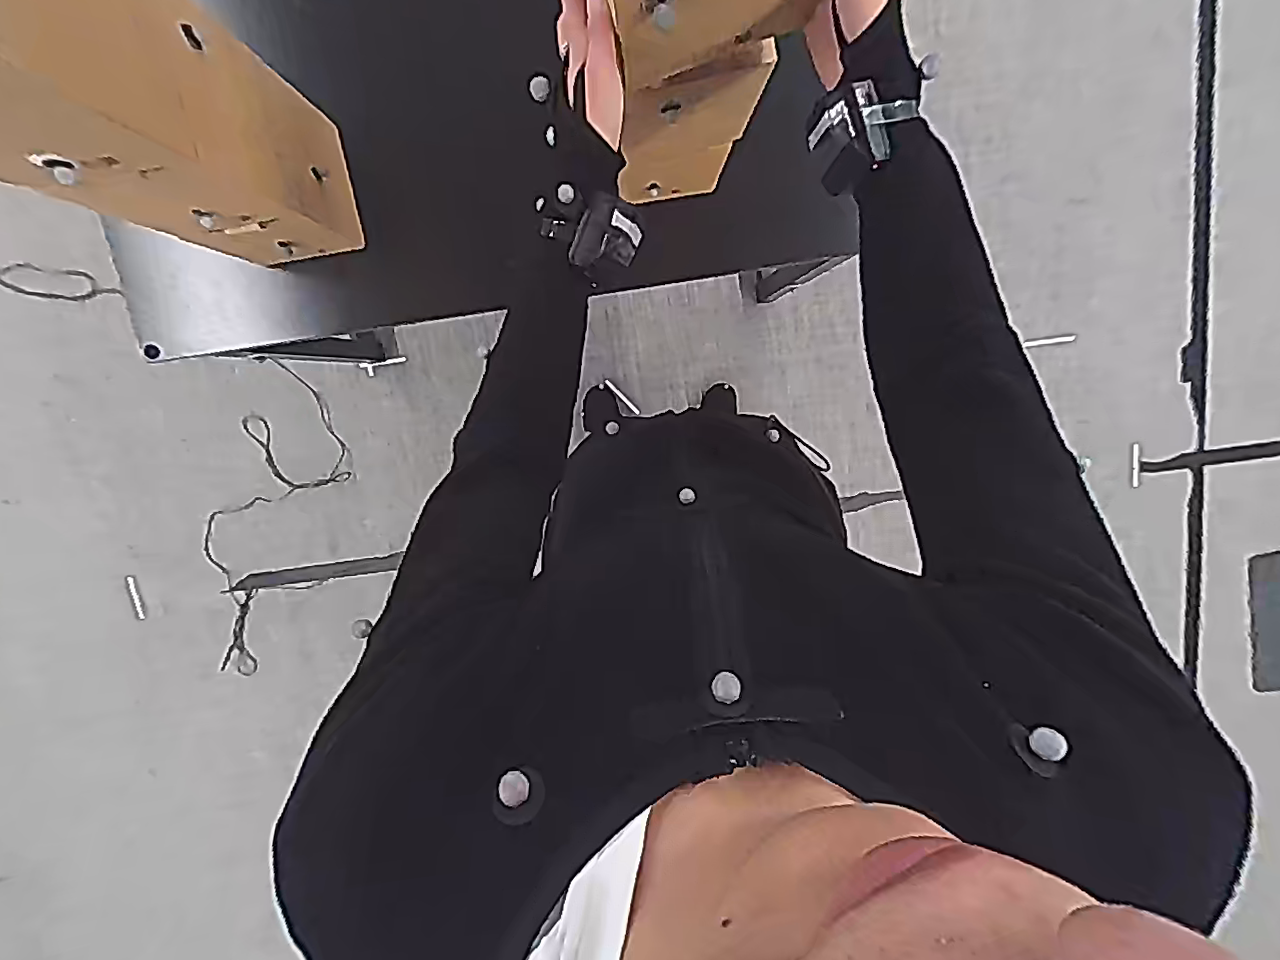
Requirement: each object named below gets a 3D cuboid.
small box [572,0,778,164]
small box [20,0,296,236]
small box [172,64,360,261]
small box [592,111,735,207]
[{"bbox_3d":[0.026,-0.459,0.564,0.179,0.176,0.168,-13,101,0],"label":"small box"},{"bbox_3d":[-0.505,-0.379,0.564,0.168,0.176,0.179,-10,100,1],"label":"small box"},{"bbox_3d":[-0.509,-0.405,0.726,0.168,0.176,0.179,-10,101,0],"label":"small box"},{"bbox_3d":[0.021,-0.494,0.724,0.168,0.176,0.179,-9,100,0],"label":"small box"}]
